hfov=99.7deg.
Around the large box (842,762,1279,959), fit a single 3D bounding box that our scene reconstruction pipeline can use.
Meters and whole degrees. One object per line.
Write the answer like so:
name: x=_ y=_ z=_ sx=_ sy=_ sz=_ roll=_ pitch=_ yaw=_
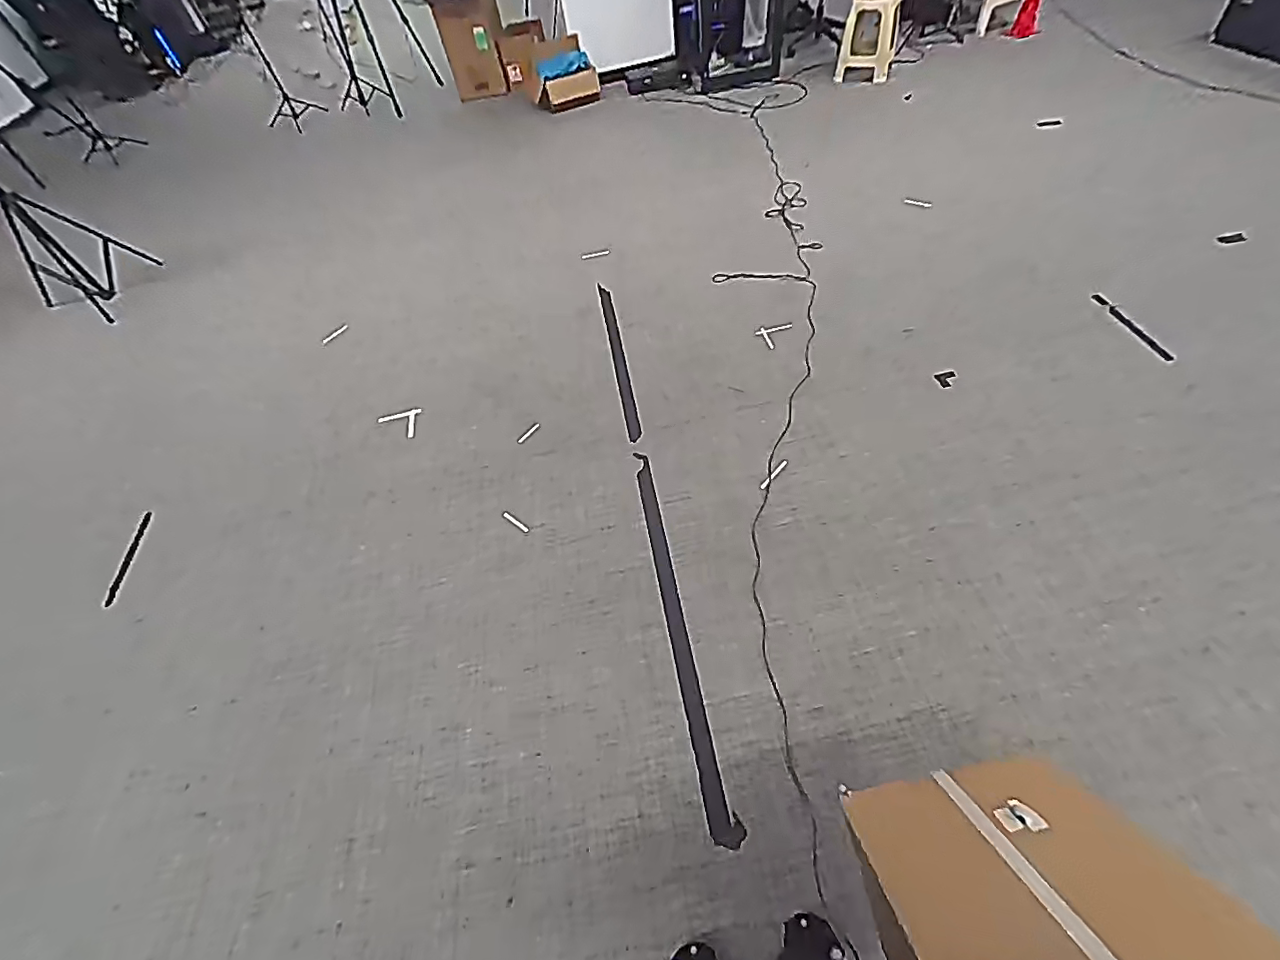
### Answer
large box: x=0.491 y=0.615 z=0.640 sx=0.320 sy=0.408 sz=0.320 roll=-15 pitch=88 yaw=4
